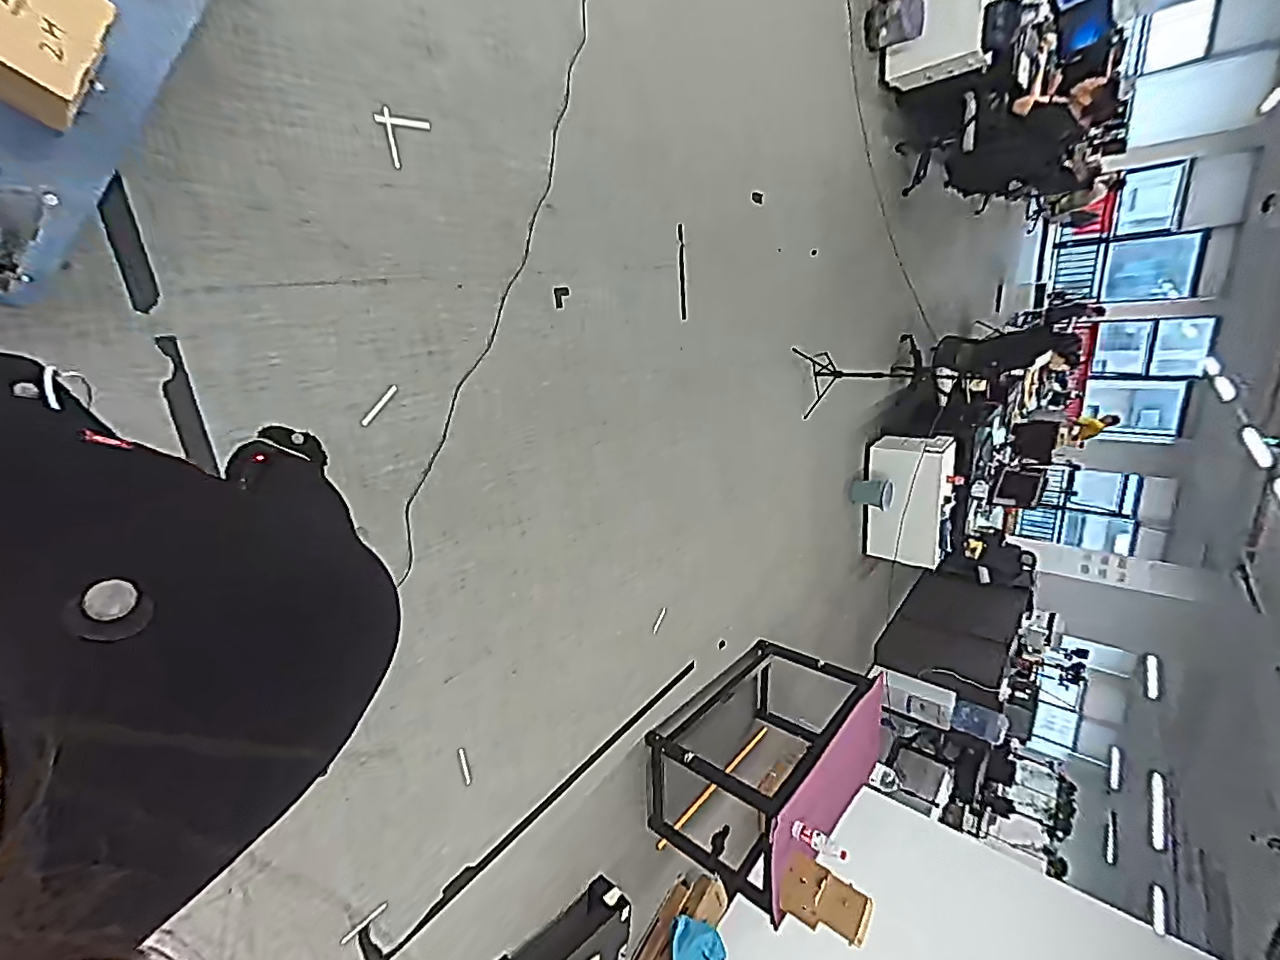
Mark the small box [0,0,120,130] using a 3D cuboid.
[{"bbox_3d":[-0.899,-0.645,0.770,0.179,0.176,0.168,26,79,-49],"label":"small box"}]
